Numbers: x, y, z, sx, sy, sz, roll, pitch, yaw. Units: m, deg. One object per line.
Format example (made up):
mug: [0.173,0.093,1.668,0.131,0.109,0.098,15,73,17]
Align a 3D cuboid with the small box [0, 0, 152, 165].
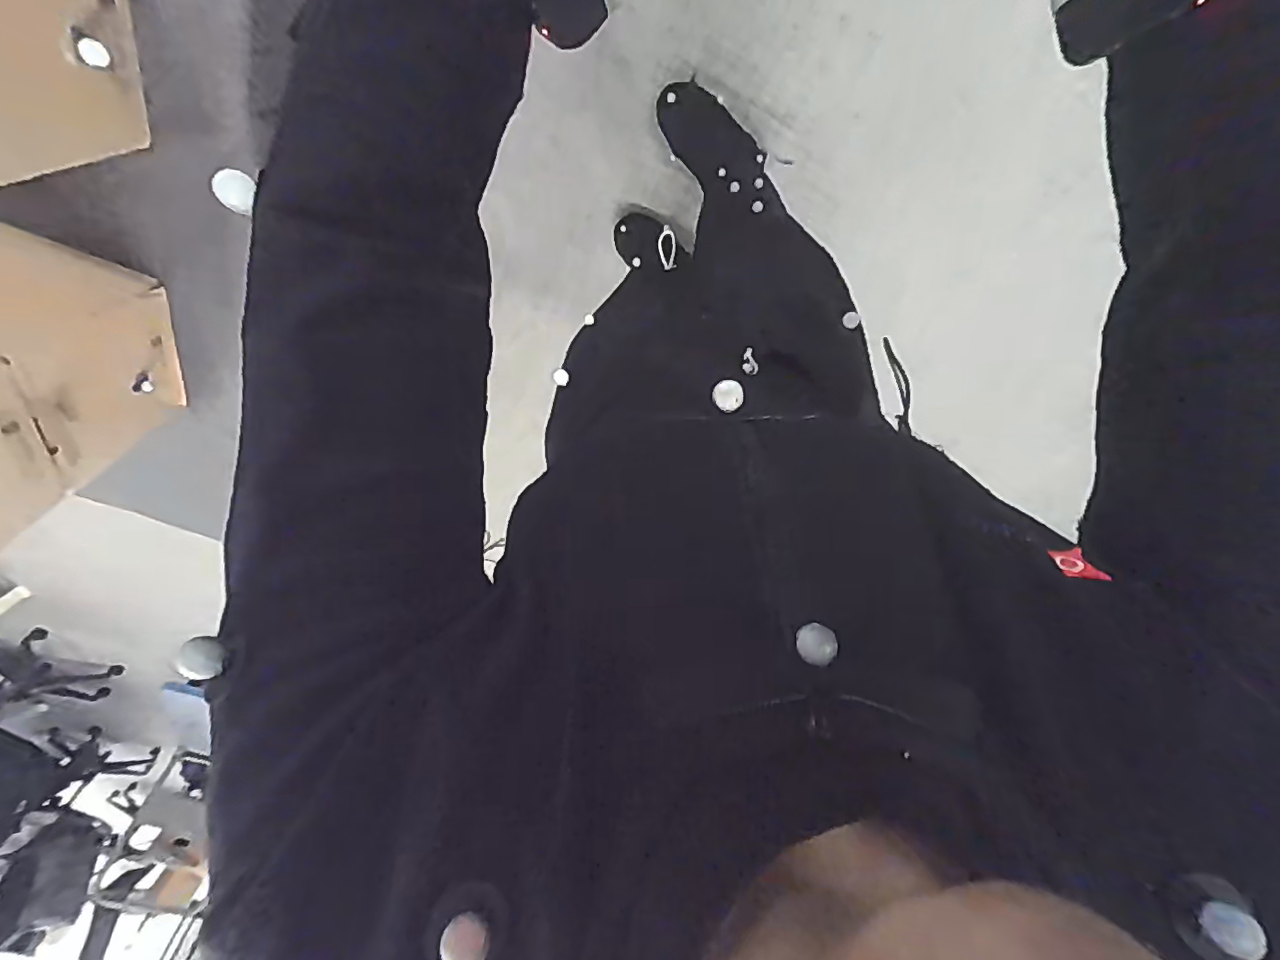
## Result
small box: [-0.458,-0.312,0.323,0.179,0.176,0.168,21,131,-12]

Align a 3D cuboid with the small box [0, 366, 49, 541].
small box: [-0.596,-0.014,0.386,0.179,0.176,0.168,18,130,-11]

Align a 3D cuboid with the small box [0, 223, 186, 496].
small box: [-0.589,-0.119,0.511,0.179,0.176,0.168,20,130,-12]
